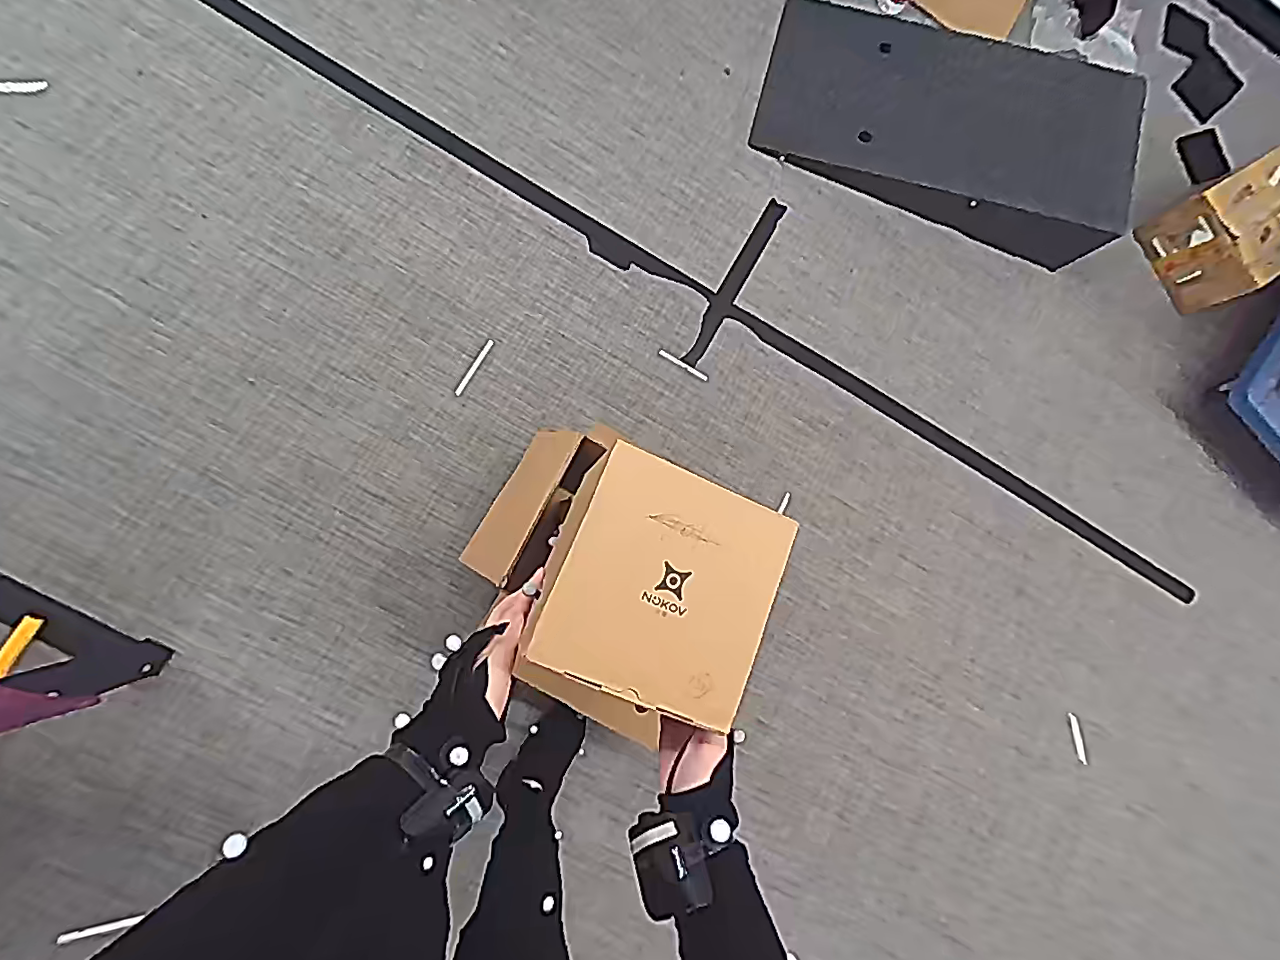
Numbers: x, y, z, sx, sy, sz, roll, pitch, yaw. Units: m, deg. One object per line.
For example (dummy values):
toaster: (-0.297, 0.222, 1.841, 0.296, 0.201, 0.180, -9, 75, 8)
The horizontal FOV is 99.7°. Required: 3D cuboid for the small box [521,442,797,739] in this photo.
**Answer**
small box: (0.005, 0.093, 0.483, 0.168, 0.176, 0.179, 25, 76, -9)
